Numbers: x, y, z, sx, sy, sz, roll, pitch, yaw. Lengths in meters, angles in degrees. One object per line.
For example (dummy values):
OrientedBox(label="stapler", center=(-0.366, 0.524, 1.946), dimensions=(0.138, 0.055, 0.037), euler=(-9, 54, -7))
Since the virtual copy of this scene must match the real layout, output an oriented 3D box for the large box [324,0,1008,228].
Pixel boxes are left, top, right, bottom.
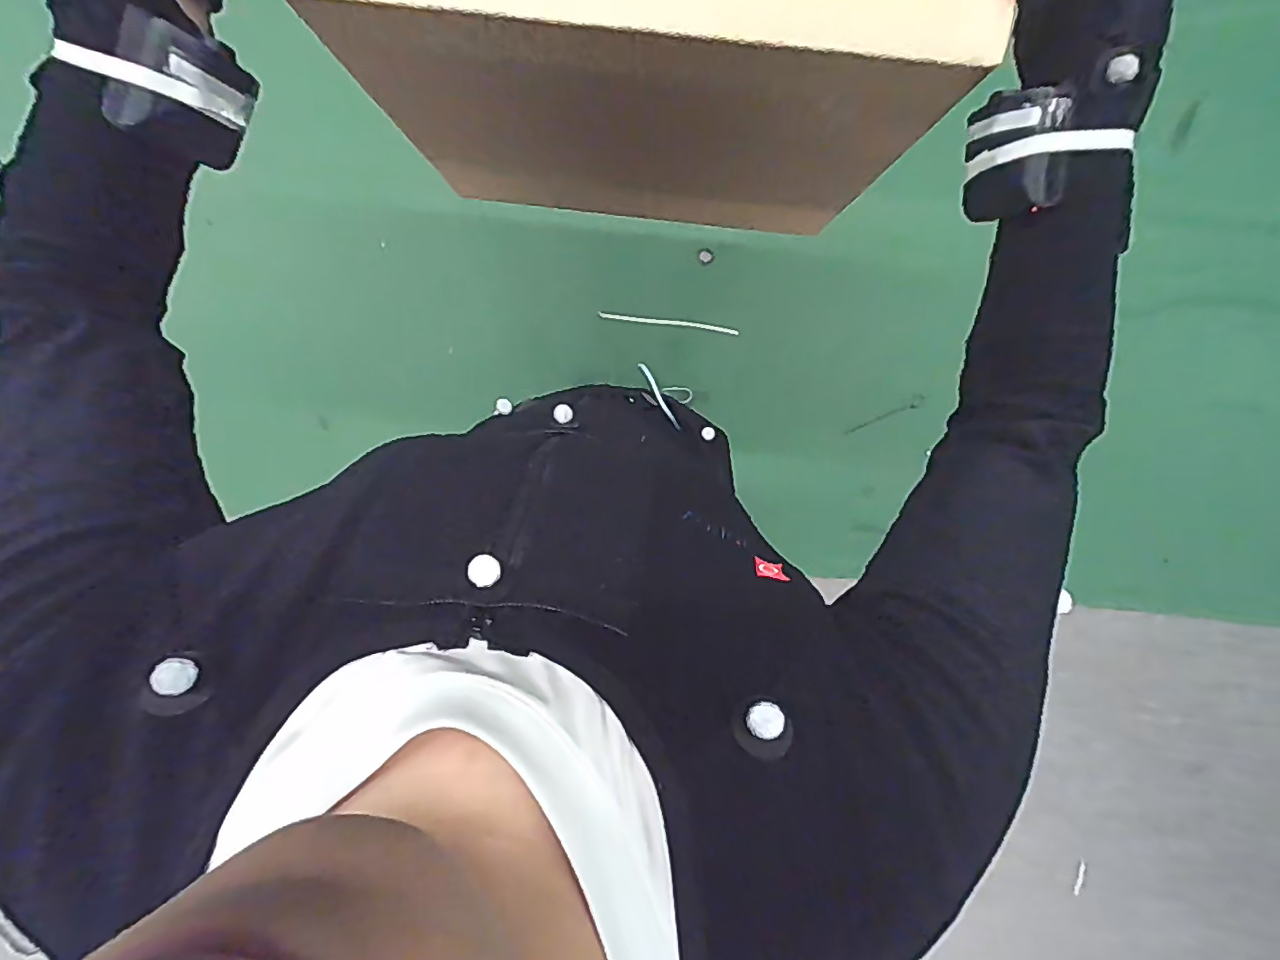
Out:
OrientedBox(label="large box", center=(0.019, -0.425, 0.436), dimensions=(0.408, 0.320, 0.320), euler=(5, 99, -2))
